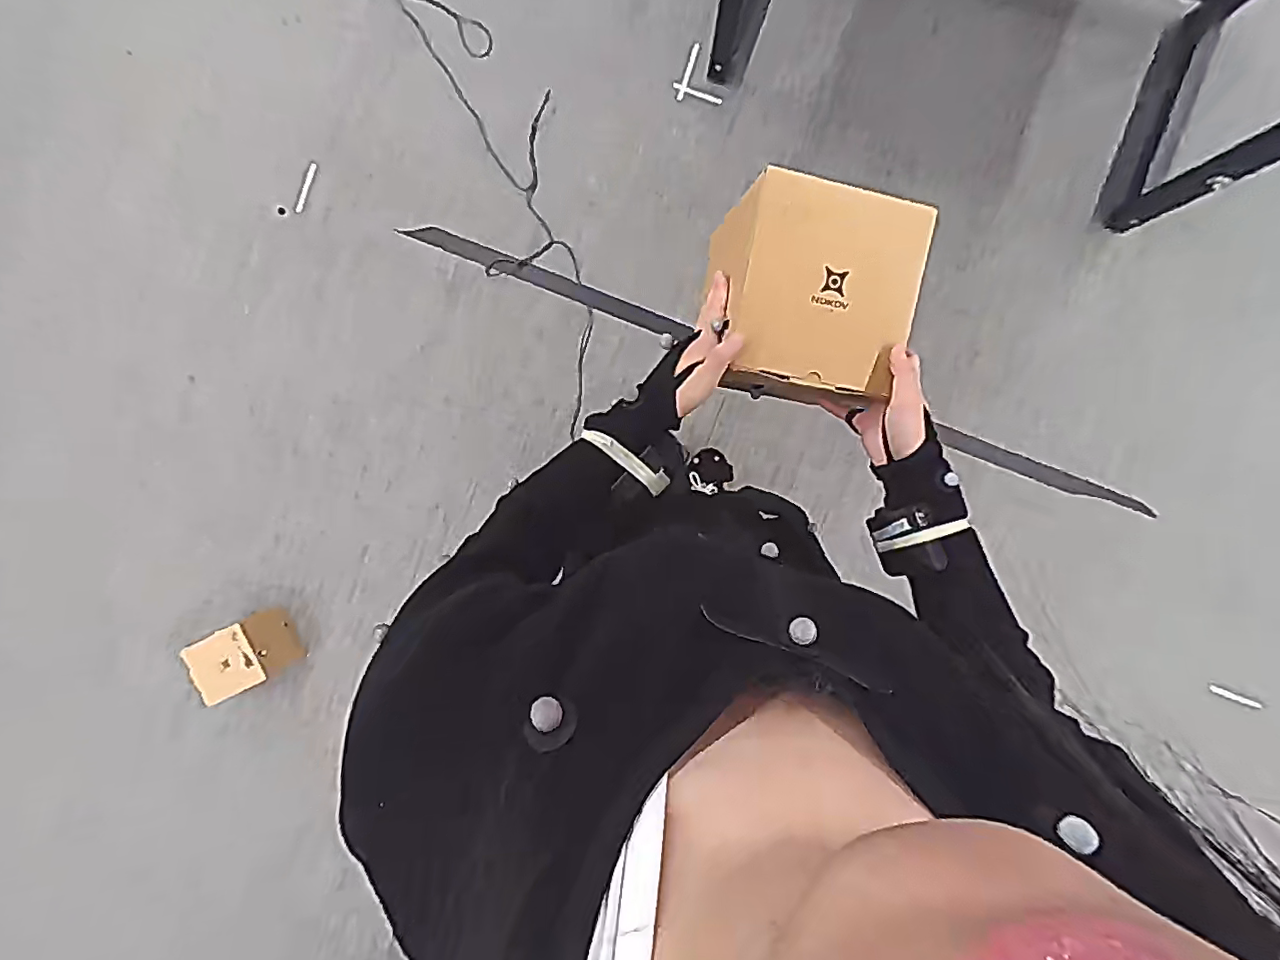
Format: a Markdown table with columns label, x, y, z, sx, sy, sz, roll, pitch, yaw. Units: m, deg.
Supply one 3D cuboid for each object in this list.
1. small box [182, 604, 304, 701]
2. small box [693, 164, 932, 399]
| label | x | y | z | sx | sy | sz | roll | pitch | yaw |
| --- | --- | --- | --- | --- | --- | --- | --- | --- | --- |
| small box | -1.068 | 0.461 | 1.468 | 0.179 | 0.176 | 0.168 | -26 | 92 | 2 |
| small box | 0.161 | -0.185 | 0.562 | 0.168 | 0.176 | 0.179 | 9 | 96 | -8 |
